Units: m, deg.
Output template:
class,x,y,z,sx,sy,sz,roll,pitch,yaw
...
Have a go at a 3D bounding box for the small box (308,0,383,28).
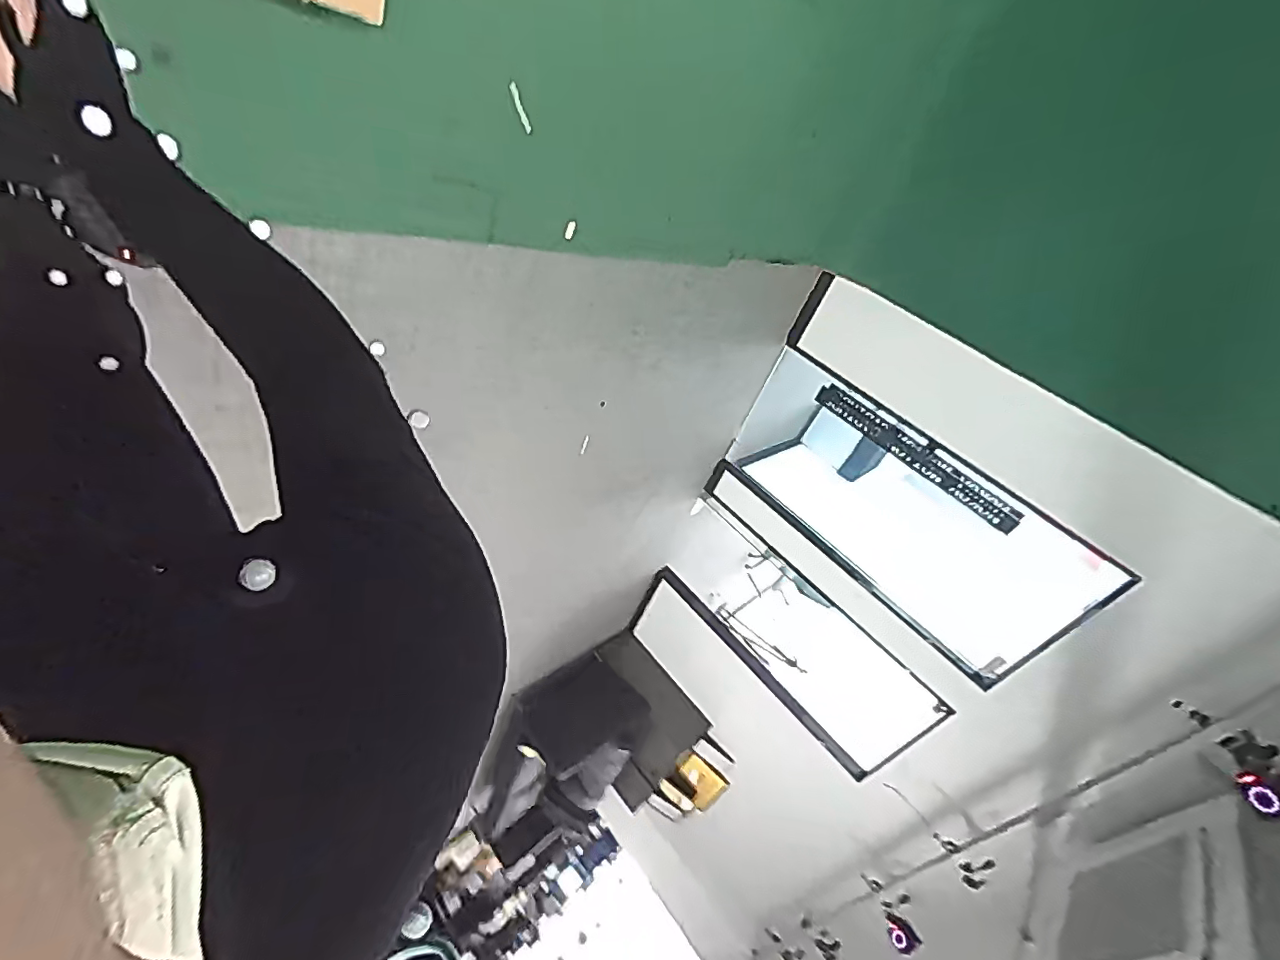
class,x,y,z,sx,sy,sz,roll,pitch,yaw
small box,-0.526,-0.878,0.862,0.168,0.176,0.179,-18,143,-46
